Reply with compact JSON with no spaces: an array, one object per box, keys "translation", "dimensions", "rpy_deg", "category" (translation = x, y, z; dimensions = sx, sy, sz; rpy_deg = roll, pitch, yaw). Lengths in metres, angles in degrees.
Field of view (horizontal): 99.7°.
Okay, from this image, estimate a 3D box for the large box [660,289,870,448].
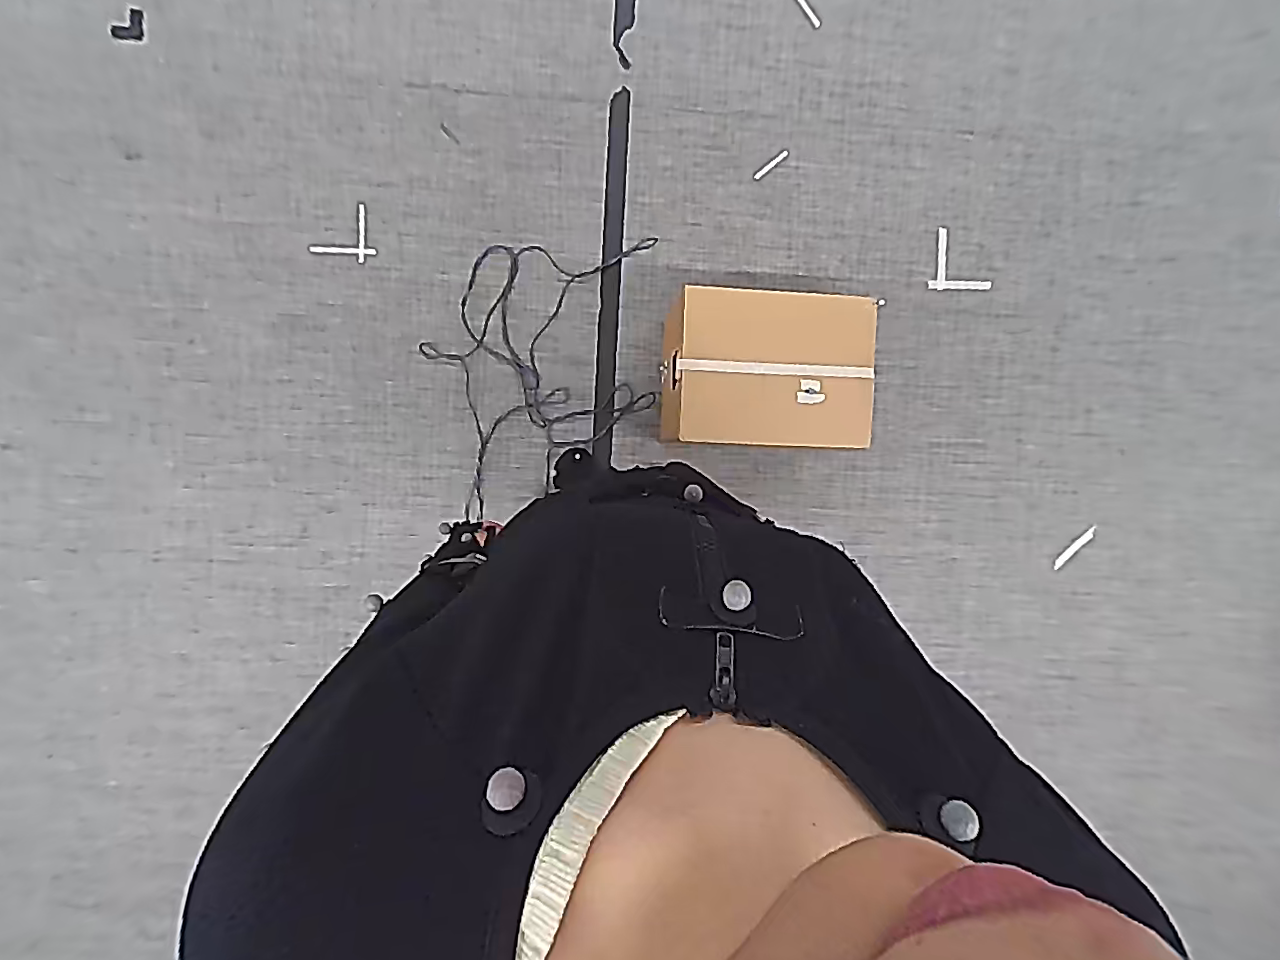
[{"translation":[0.261,-0.234,1.252],"dimensions":[0.408,0.320,0.320],"rpy_deg":[1,93,-6],"category":"large box"}]
